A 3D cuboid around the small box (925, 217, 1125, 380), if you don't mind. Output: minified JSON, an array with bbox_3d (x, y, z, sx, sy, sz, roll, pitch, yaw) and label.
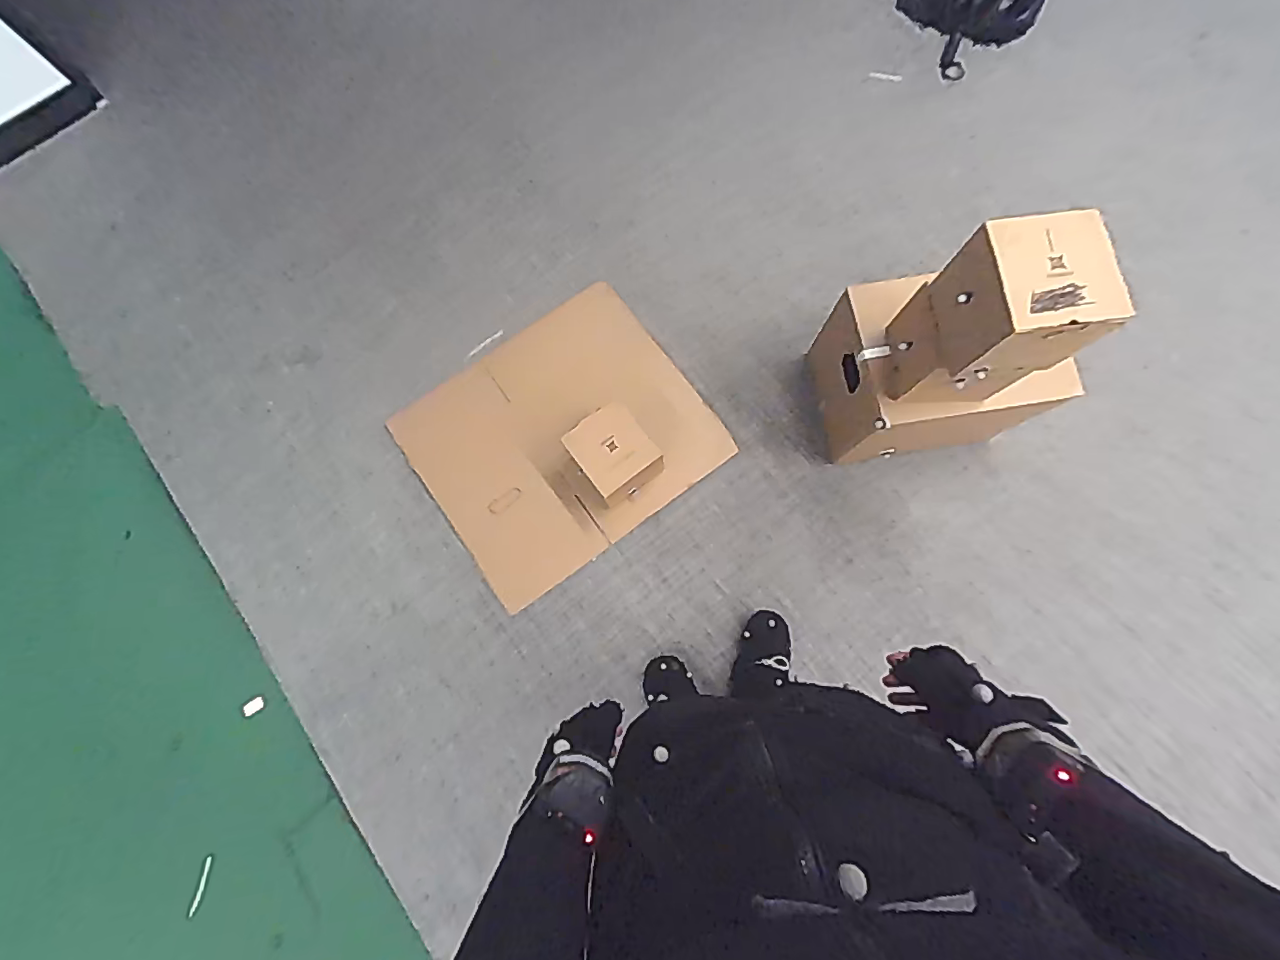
[{"bbox_3d":[0.578,-0.267,0.838,0.168,0.176,0.179,-10,79,0],"label":"small box"}]

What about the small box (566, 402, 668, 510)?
[{"bbox_3d":[-0.050,-0.048,1.283,0.168,0.176,0.179,-38,79,-4],"label":"small box"}]

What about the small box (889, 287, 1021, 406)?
[{"bbox_3d":[0.584,-0.244,1.004,0.179,0.176,0.168,-4,76,1],"label":"small box"}]
